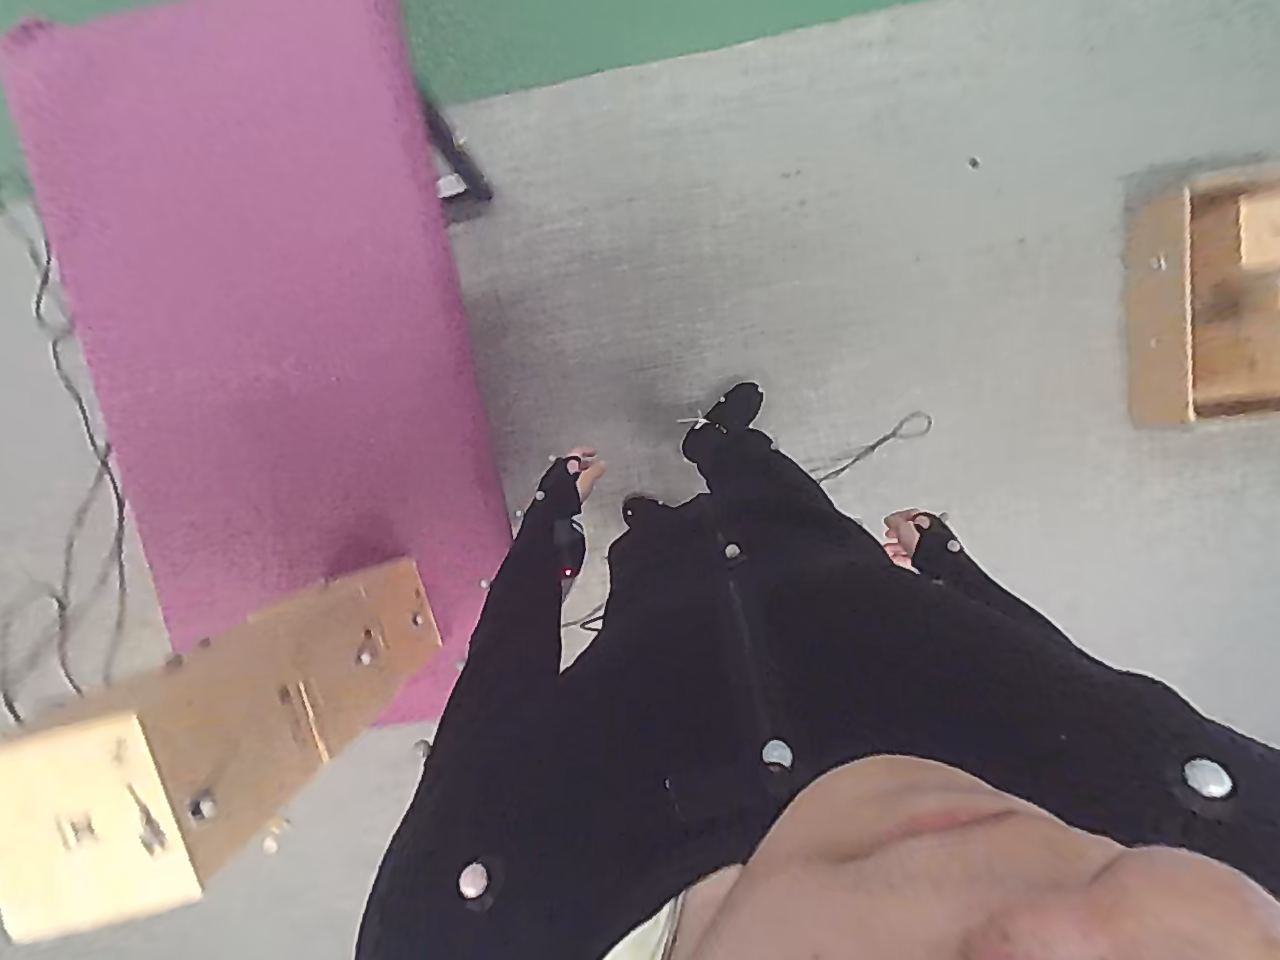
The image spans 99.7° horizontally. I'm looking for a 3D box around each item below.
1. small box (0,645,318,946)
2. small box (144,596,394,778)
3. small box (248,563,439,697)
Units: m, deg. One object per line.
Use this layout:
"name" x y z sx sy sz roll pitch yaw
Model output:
"small box" -0.458 0.280 0.516 0.179 0.176 0.168 -15 95 4
"small box" -0.450 0.266 0.679 0.179 0.176 0.168 -18 95 3
"small box" -0.447 0.244 0.842 0.179 0.176 0.168 -17 94 3
